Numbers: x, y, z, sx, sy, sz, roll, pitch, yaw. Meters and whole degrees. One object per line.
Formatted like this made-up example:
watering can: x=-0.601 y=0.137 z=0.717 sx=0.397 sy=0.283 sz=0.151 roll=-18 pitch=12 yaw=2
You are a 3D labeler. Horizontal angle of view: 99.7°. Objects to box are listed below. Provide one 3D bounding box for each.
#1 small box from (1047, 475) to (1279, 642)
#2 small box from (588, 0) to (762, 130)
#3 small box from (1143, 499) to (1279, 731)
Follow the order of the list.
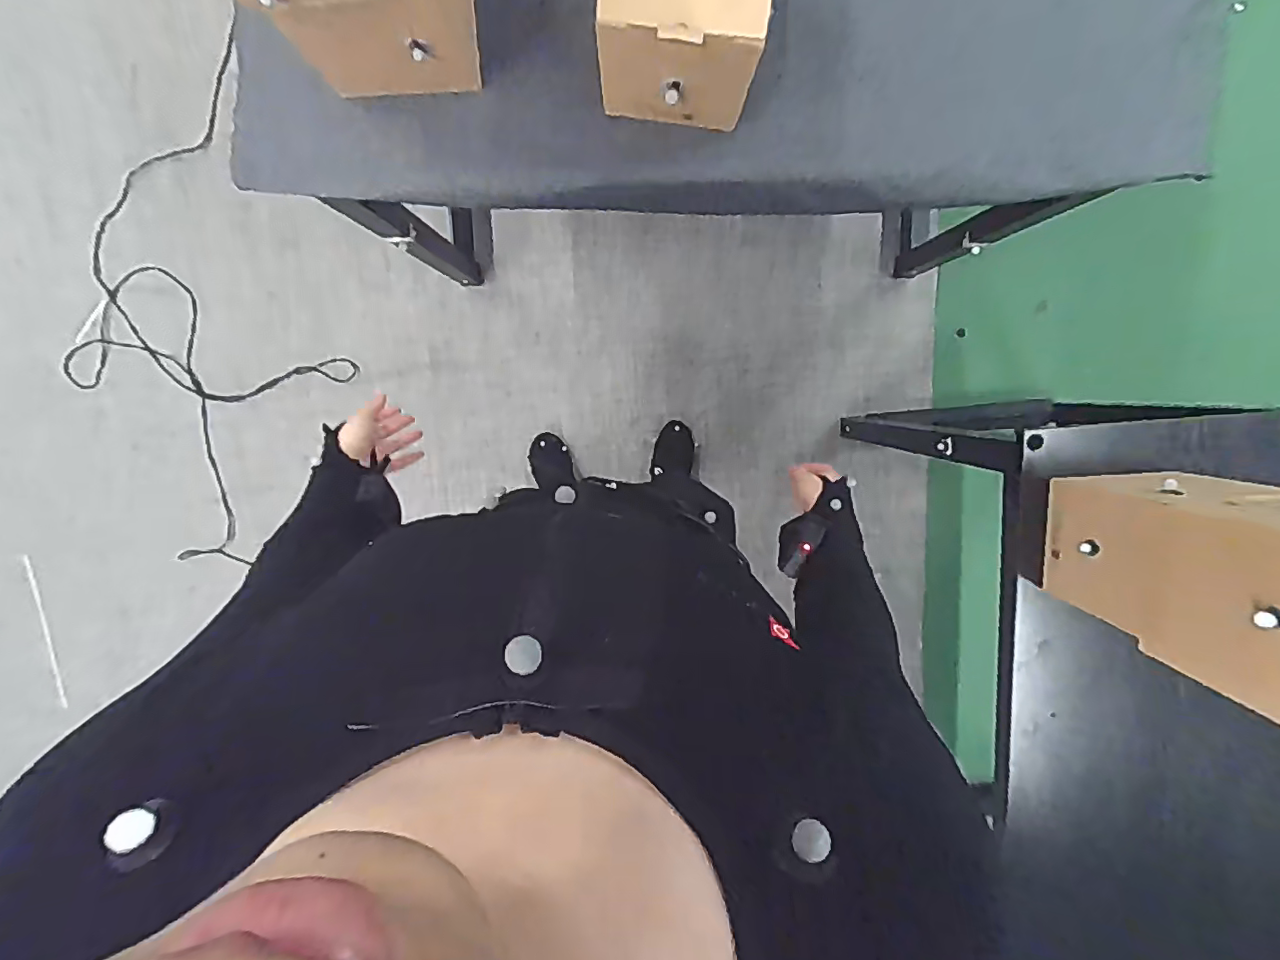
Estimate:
small box: x=0.654 y=0.089 z=0.675 sx=0.179 sy=0.176 sz=0.168 roll=-3 pitch=100 yaw=1
small box: x=0.043 y=-0.513 z=0.583 sx=0.168 sy=0.176 sz=0.179 roll=7 pitch=98 yaw=0
small box: x=0.638 y=0.122 z=0.516 sx=0.168 sy=0.176 sz=0.179 roll=-3 pitch=99 yaw=1
